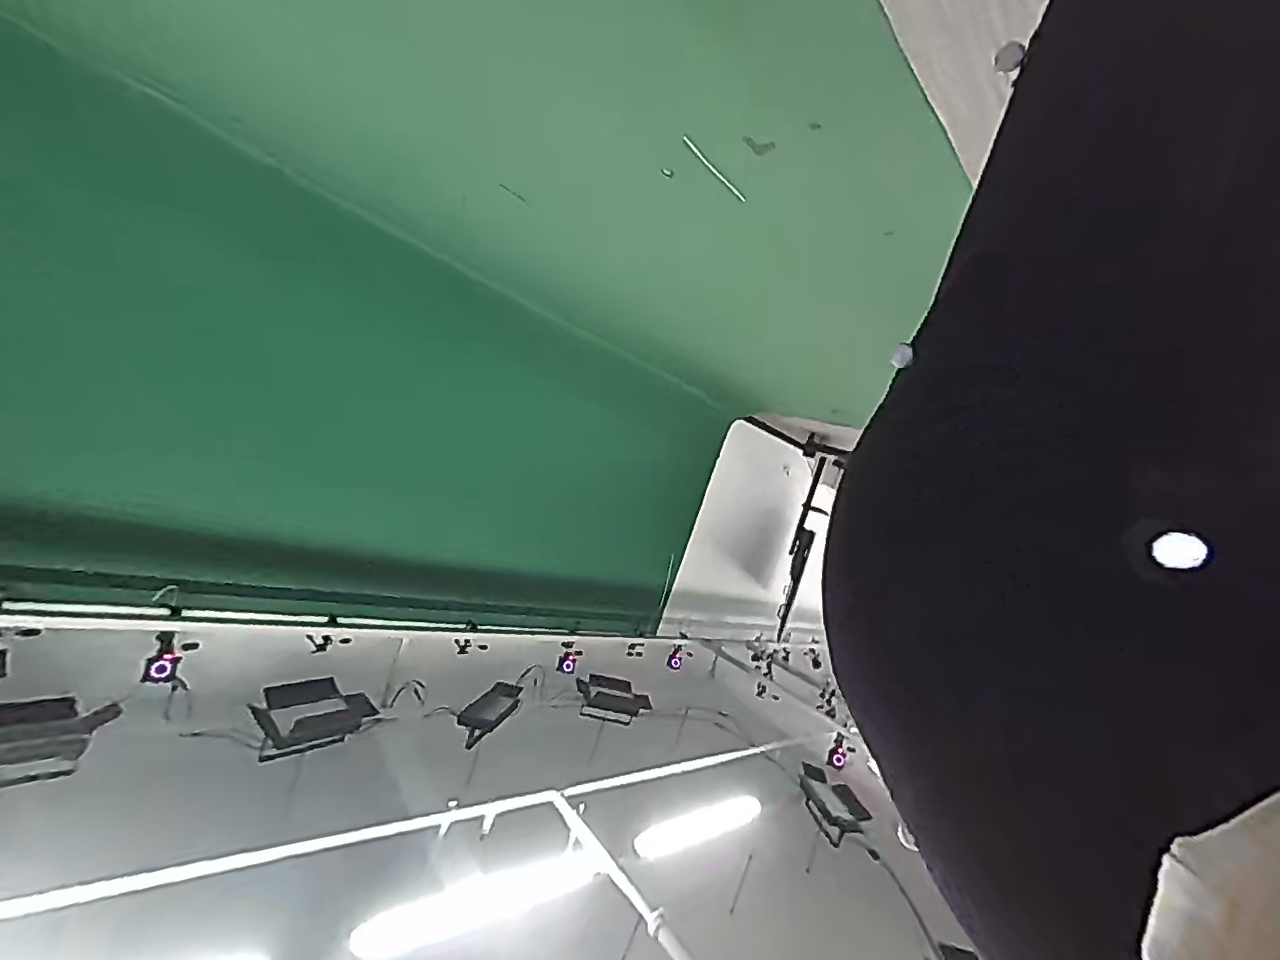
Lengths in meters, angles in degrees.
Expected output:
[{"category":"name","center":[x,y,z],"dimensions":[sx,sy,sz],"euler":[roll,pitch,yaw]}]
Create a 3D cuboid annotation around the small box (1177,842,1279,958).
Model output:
[{"category":"small box","center":[1.650,1.163,1.516],"dimensions":[0.179,0.176,0.168],"euler":[16,-177,-42]}]
